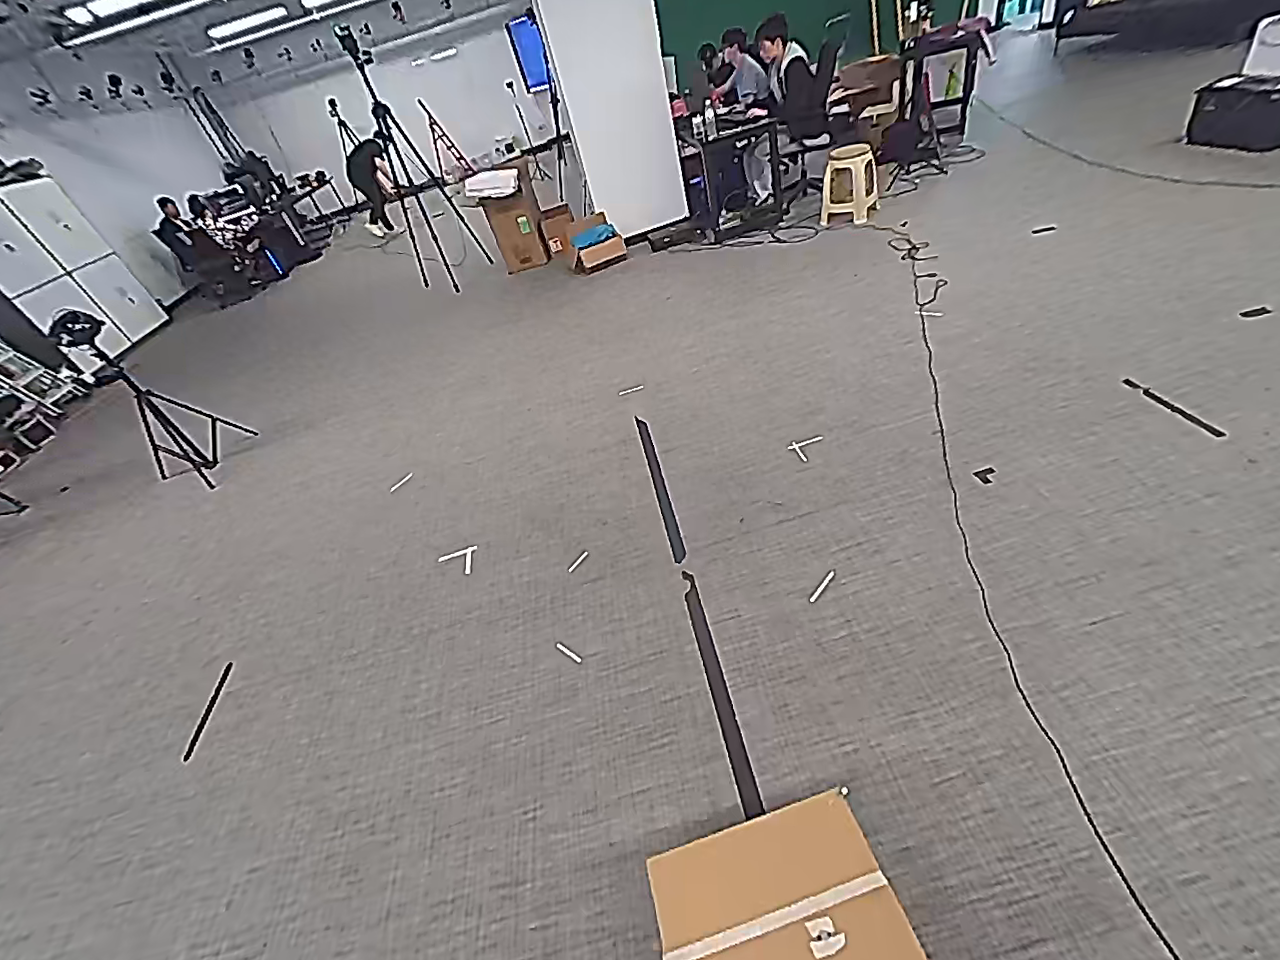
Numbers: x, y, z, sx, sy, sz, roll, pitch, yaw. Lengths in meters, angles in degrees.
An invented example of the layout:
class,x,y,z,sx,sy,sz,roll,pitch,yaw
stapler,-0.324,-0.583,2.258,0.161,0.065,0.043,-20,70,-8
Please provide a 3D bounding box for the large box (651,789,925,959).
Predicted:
class,x,y,z,sx,sy,sz,roll,pitch,yaw
large box,0.276,0.879,1.033,0.408,0.320,0.320,-20,38,-2
